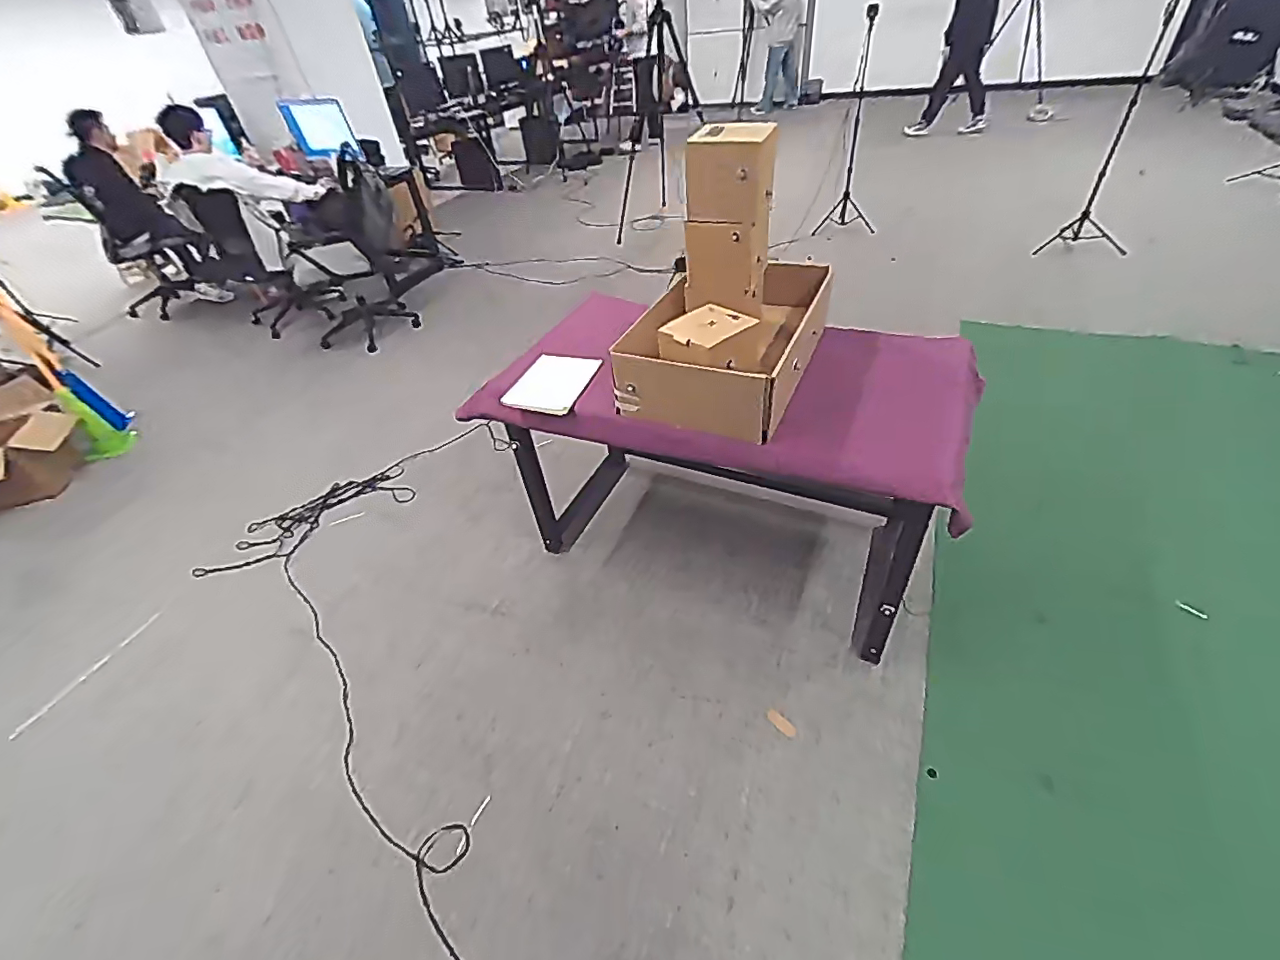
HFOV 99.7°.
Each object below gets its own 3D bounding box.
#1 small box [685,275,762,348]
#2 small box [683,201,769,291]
[{"bbox_3d":[0.238,-0.487,1.503,0.168,0.176,0.179,15,48,23],"label":"small box"},{"bbox_3d":[0.223,-0.601,1.389,0.179,0.176,0.168,13,47,21],"label":"small box"}]
